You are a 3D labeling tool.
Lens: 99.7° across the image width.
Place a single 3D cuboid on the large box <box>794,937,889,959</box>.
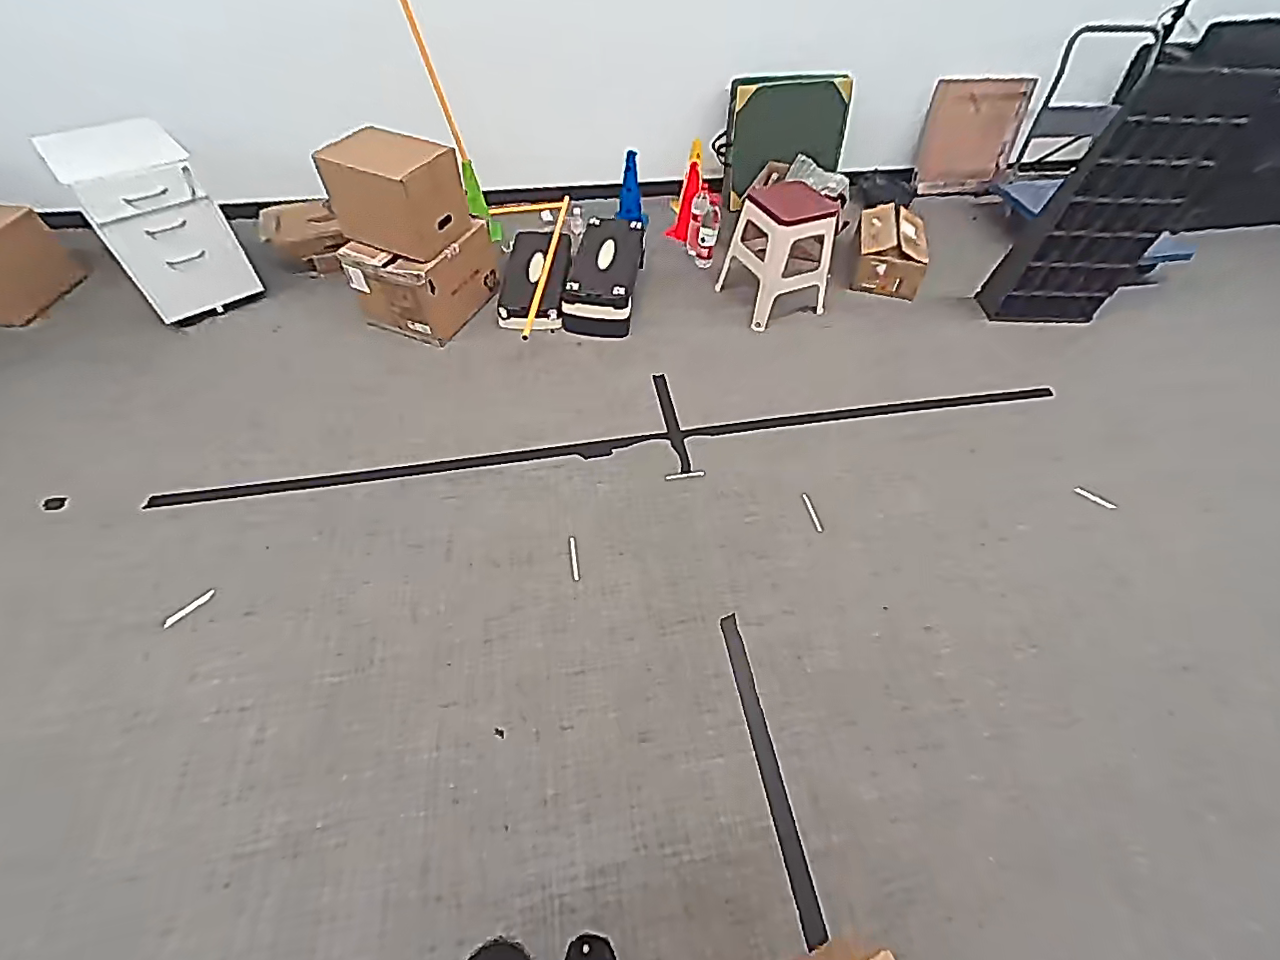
[{"bbox_3d":[0.292,1.042,0.879,0.408,0.320,0.320,-20,55,-17],"label":"large box"}]
